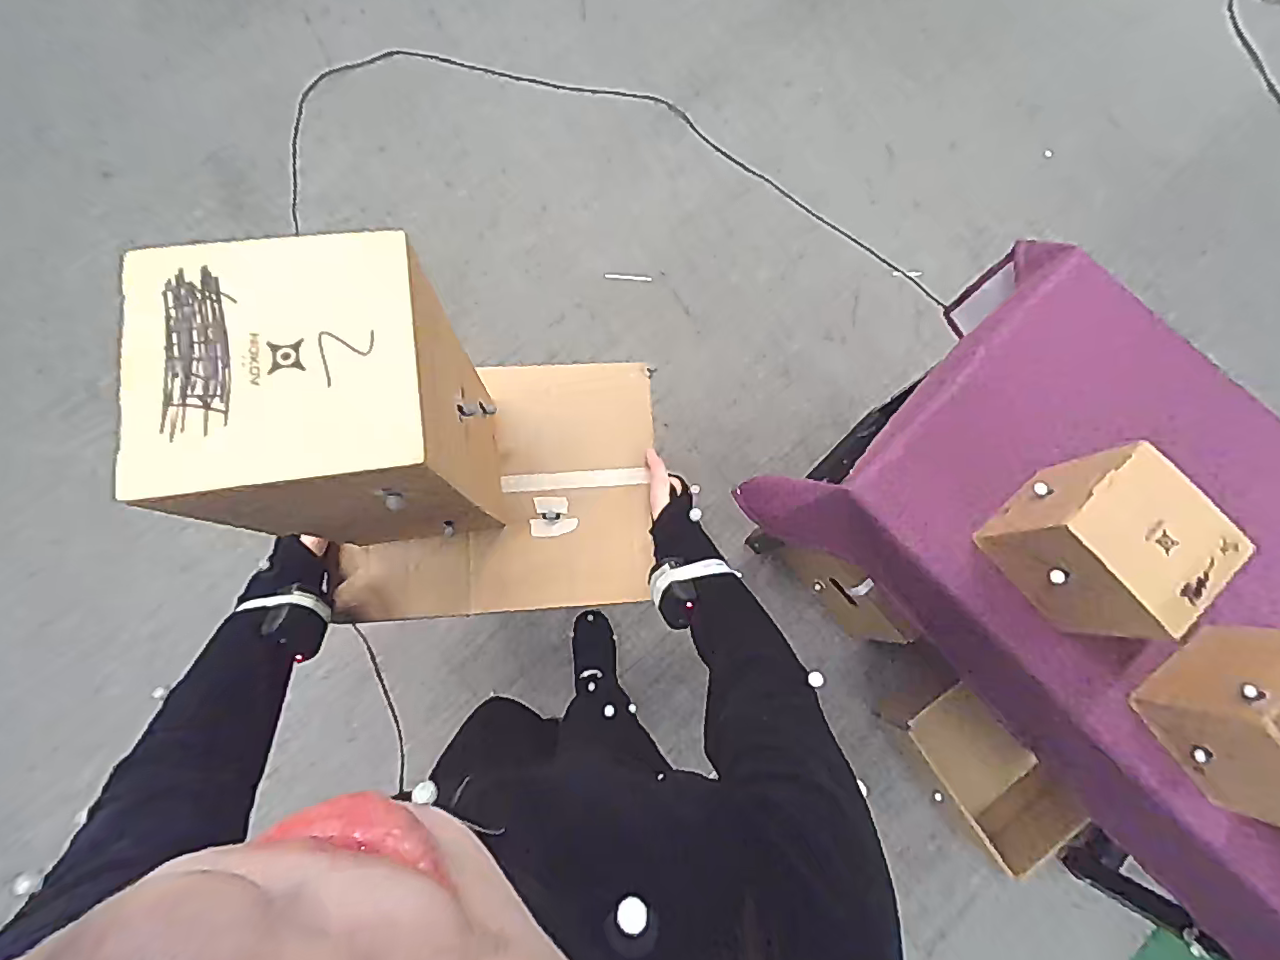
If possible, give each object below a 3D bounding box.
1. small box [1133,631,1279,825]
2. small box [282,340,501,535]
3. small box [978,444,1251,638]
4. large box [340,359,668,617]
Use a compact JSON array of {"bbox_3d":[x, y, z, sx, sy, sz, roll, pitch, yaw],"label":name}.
[{"bbox_3d":[0.798,0.308,0.681,0.179,0.176,0.168,-34,82,-9],"label":"small box"},{"bbox_3d":[-0.251,-0.035,0.586,0.179,0.176,0.168,-6,79,-6],"label":"small box"},{"bbox_3d":[0.603,0.086,0.715,0.168,0.176,0.179,-38,82,-10],"label":"small box"},{"bbox_3d":[-0.188,0.024,0.831,0.408,0.320,0.320,-3,81,-6],"label":"large box"}]
